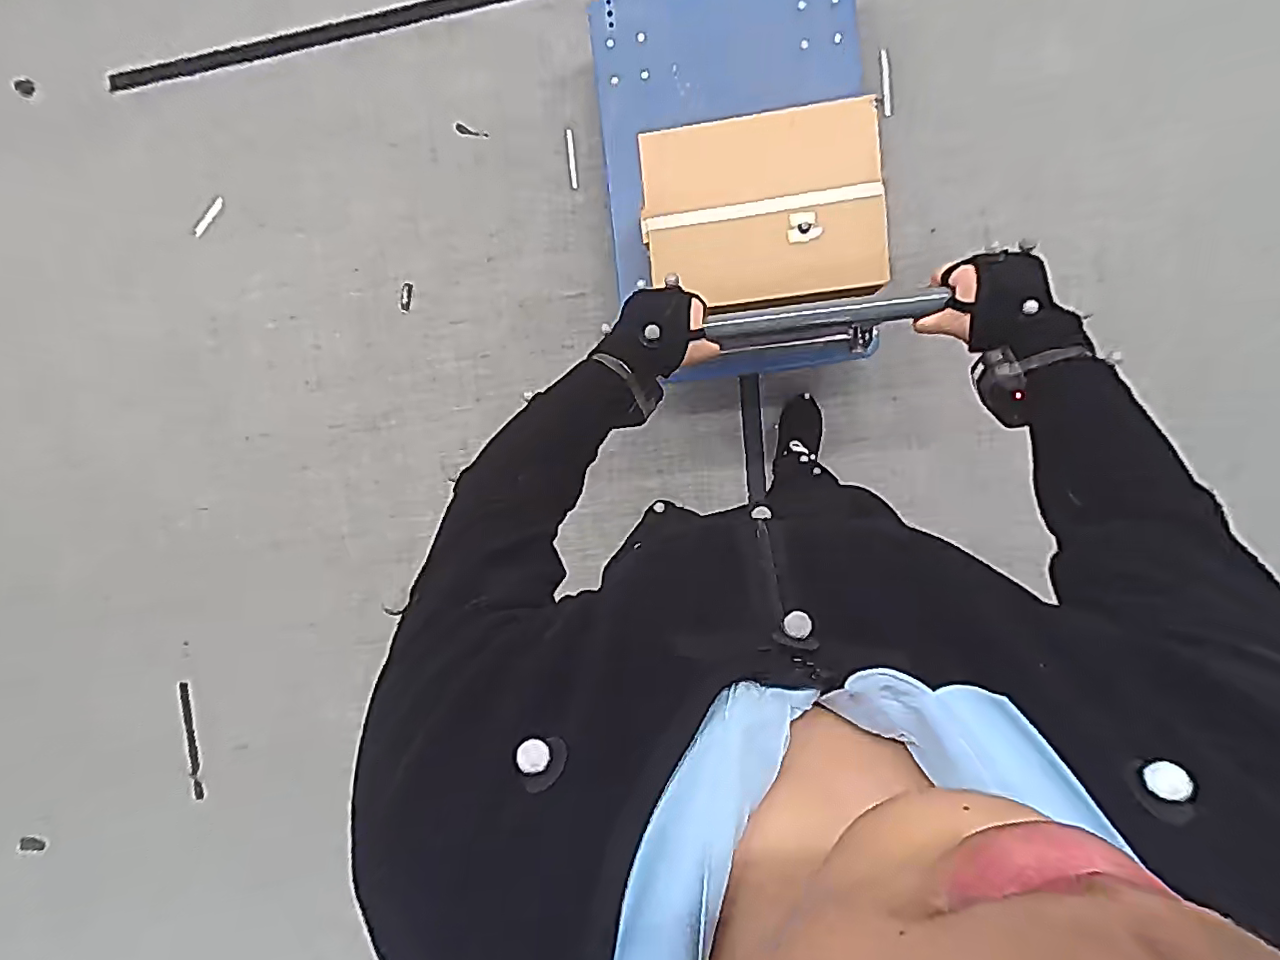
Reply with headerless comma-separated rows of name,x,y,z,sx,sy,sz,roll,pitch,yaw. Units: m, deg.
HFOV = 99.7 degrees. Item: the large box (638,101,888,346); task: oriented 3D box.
large box,0.223,-0.472,1.080,0.408,0.320,0.320,-6,95,6
